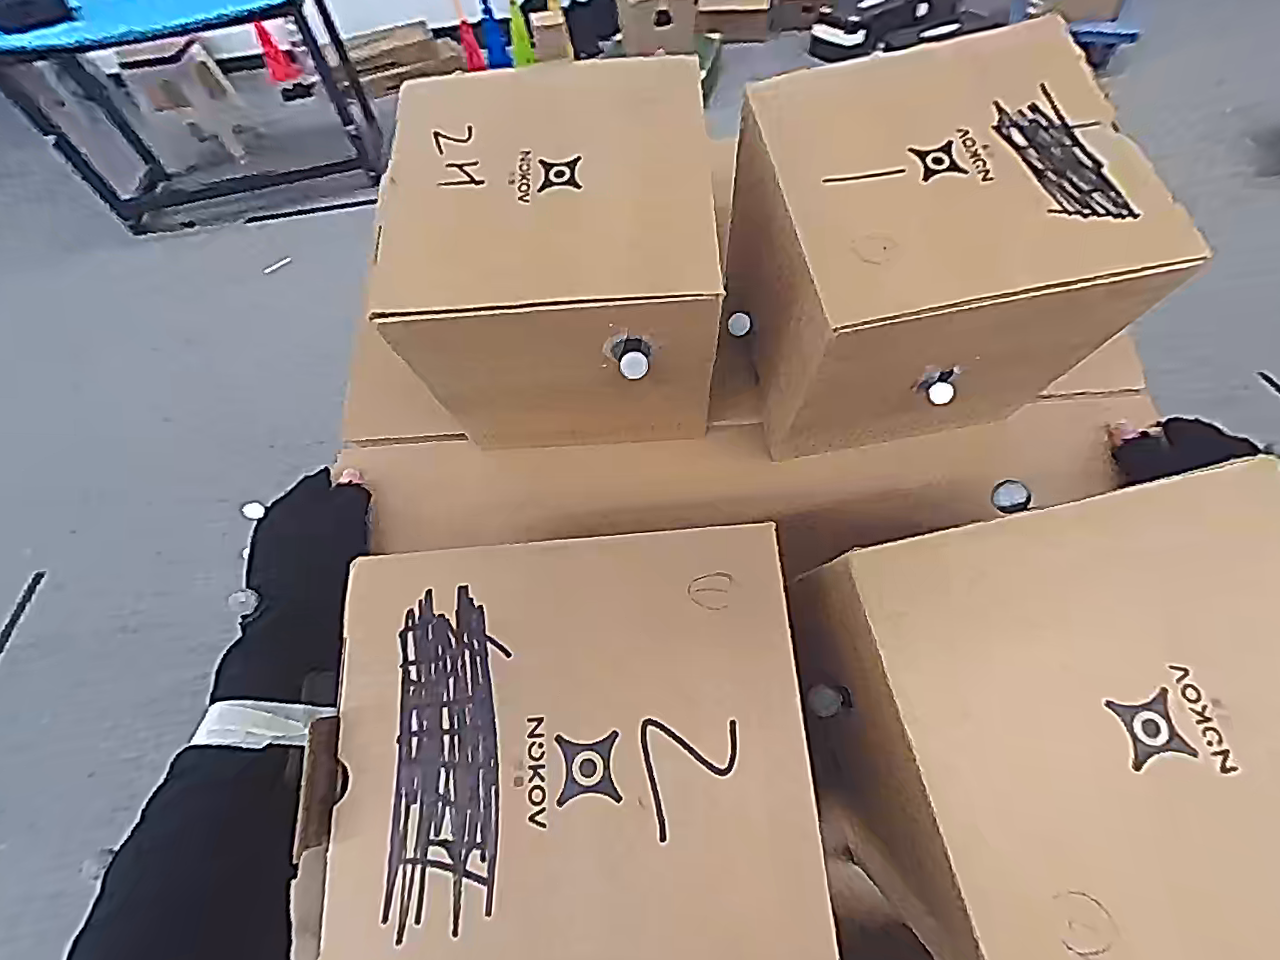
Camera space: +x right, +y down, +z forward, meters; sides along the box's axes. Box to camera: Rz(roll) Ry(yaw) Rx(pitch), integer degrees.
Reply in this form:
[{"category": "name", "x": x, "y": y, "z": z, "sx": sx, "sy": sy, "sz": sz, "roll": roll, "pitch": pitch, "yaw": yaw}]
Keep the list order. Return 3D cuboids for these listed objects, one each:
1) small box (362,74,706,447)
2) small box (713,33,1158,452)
[{"category": "small box", "x": -0.052, "y": -0.131, "z": 0.371, "sx": 0.179, "sy": 0.176, "sz": 0.168, "roll": -3, "pitch": 70, "yaw": 3}, {"category": "small box", "x": 0.152, "y": -0.134, "z": 0.355, "sx": 0.179, "sy": 0.176, "sz": 0.168, "roll": -12, "pitch": 70, "yaw": 1}]
